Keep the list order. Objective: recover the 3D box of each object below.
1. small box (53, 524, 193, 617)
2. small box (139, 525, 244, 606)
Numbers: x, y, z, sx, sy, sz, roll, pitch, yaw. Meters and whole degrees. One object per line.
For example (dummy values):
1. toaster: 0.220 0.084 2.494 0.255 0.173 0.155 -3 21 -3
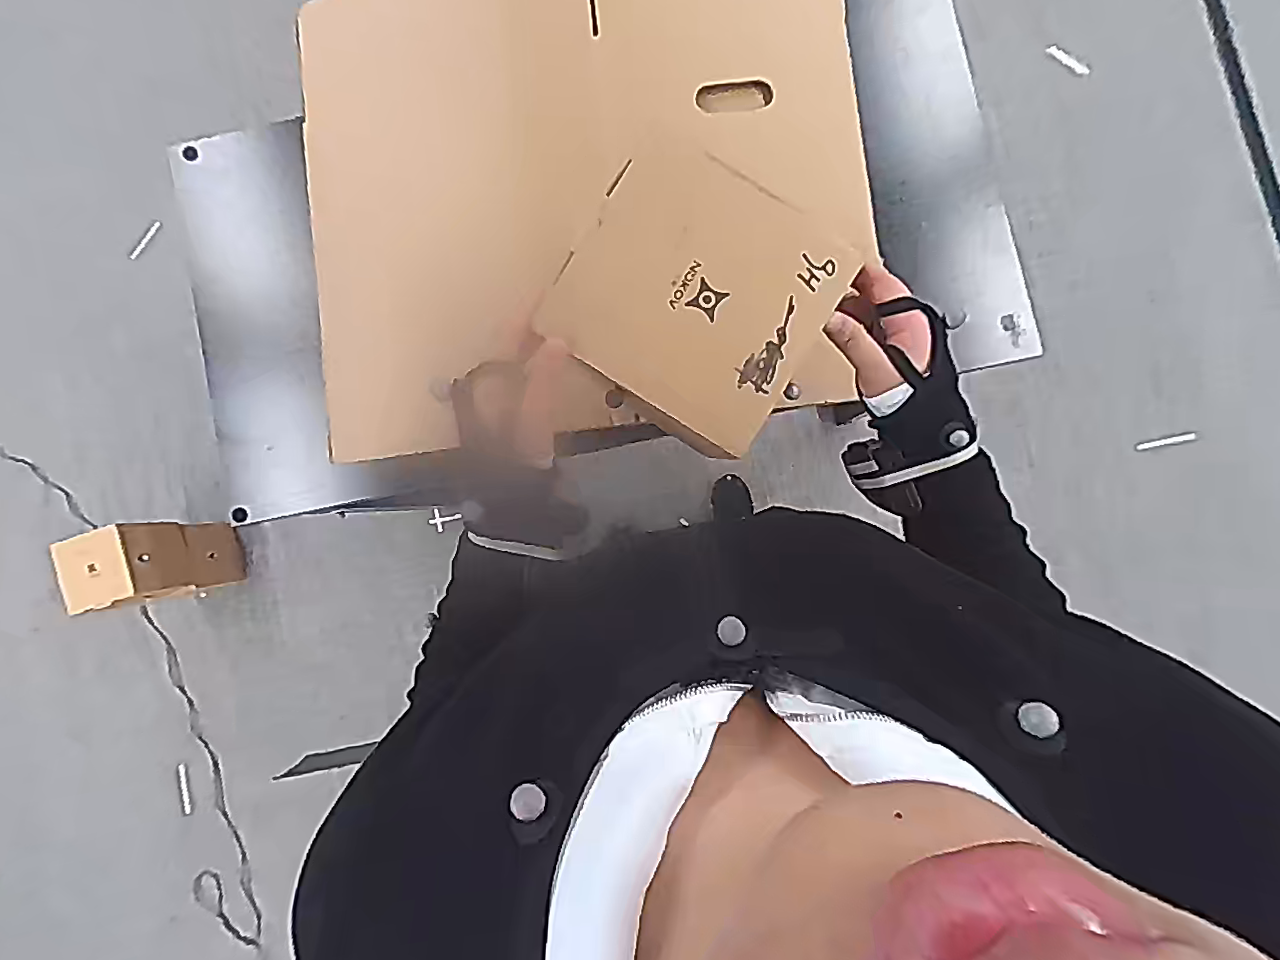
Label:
1. small box: -1.248 0.214 1.320 0.168 0.176 0.179 -19 85 1
2. small box: -1.237 0.227 1.481 0.168 0.176 0.179 -16 87 2
